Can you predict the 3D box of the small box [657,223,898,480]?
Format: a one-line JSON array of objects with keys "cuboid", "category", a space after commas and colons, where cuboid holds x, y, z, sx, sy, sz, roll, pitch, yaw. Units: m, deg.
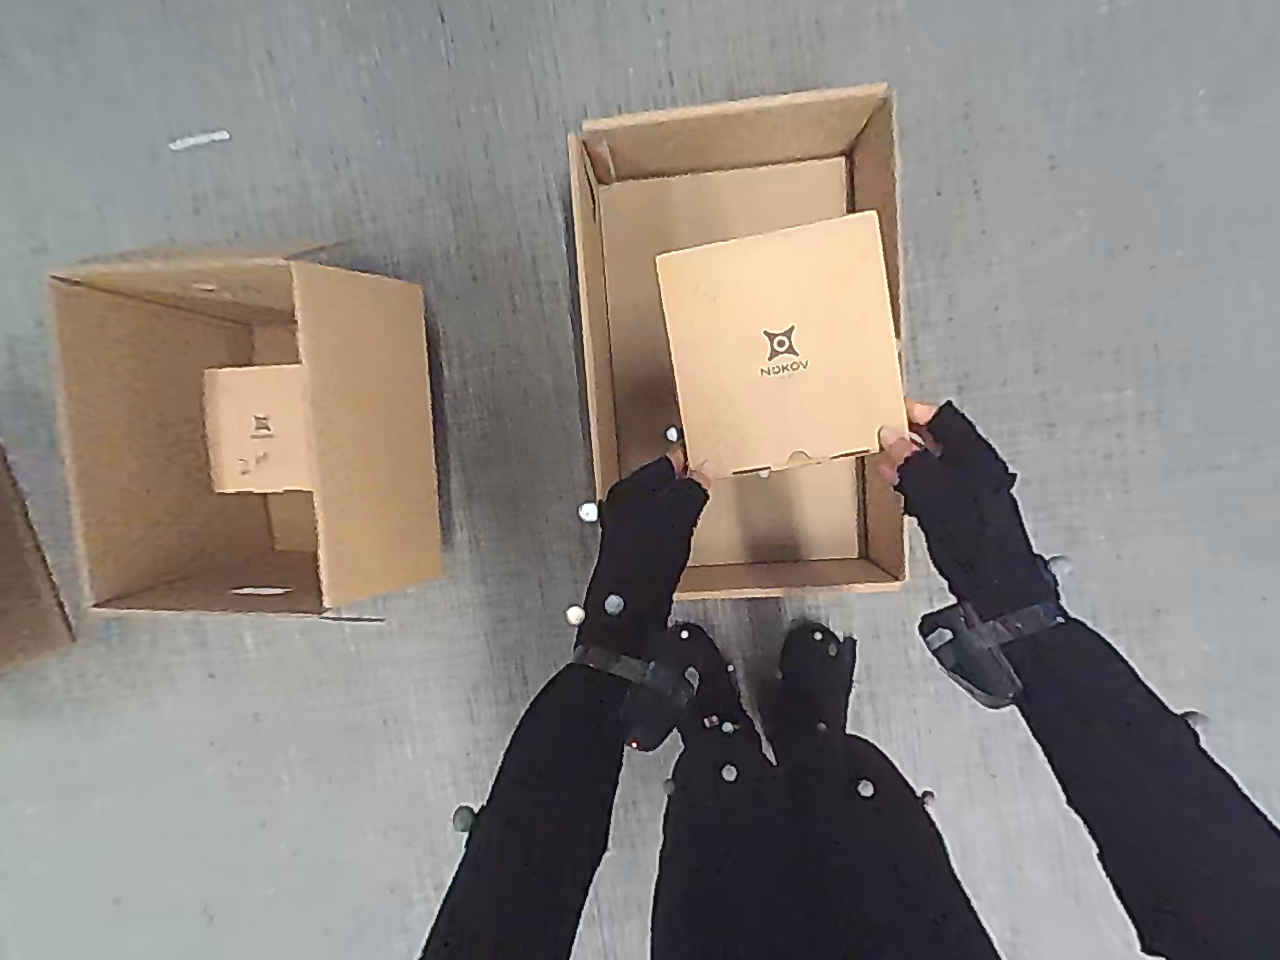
[{"cuboid": [0.110, -0.101, 0.496, 0.168, 0.176, 0.179, -10, 93, 5], "category": "small box"}]
